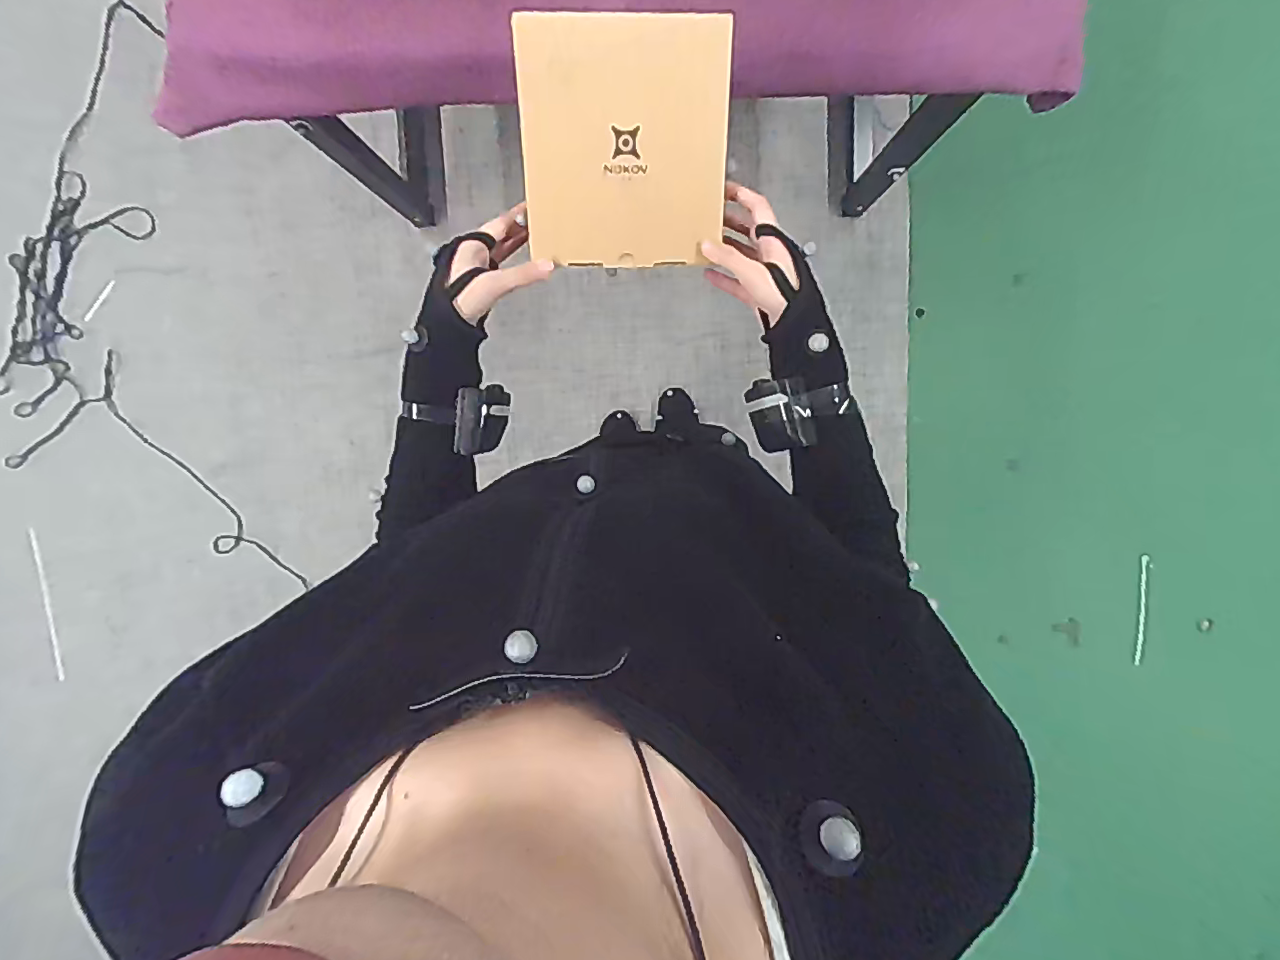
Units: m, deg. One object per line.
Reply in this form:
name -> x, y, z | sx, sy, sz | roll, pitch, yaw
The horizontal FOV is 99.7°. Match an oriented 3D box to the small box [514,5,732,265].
small box -> -0.018, -0.296, 0.502 | 0.168, 0.176, 0.179 | -2, 113, -3
